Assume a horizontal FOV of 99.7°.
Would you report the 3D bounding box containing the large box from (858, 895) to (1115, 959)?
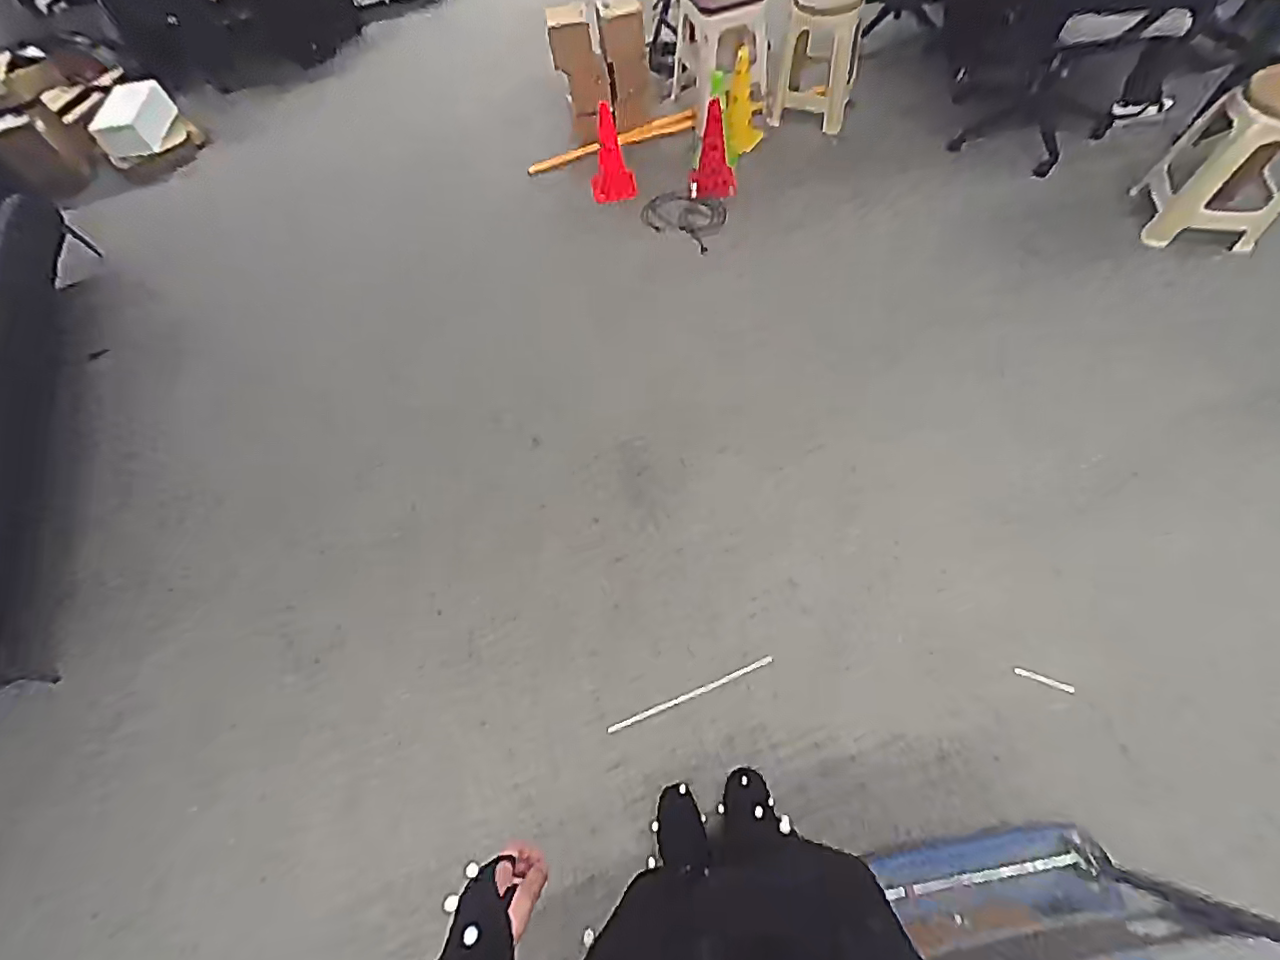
[{"bbox_3d":[0.600,0.958,0.846,0.320,0.320,0.408,-13,63,0],"label":"large box"}]
